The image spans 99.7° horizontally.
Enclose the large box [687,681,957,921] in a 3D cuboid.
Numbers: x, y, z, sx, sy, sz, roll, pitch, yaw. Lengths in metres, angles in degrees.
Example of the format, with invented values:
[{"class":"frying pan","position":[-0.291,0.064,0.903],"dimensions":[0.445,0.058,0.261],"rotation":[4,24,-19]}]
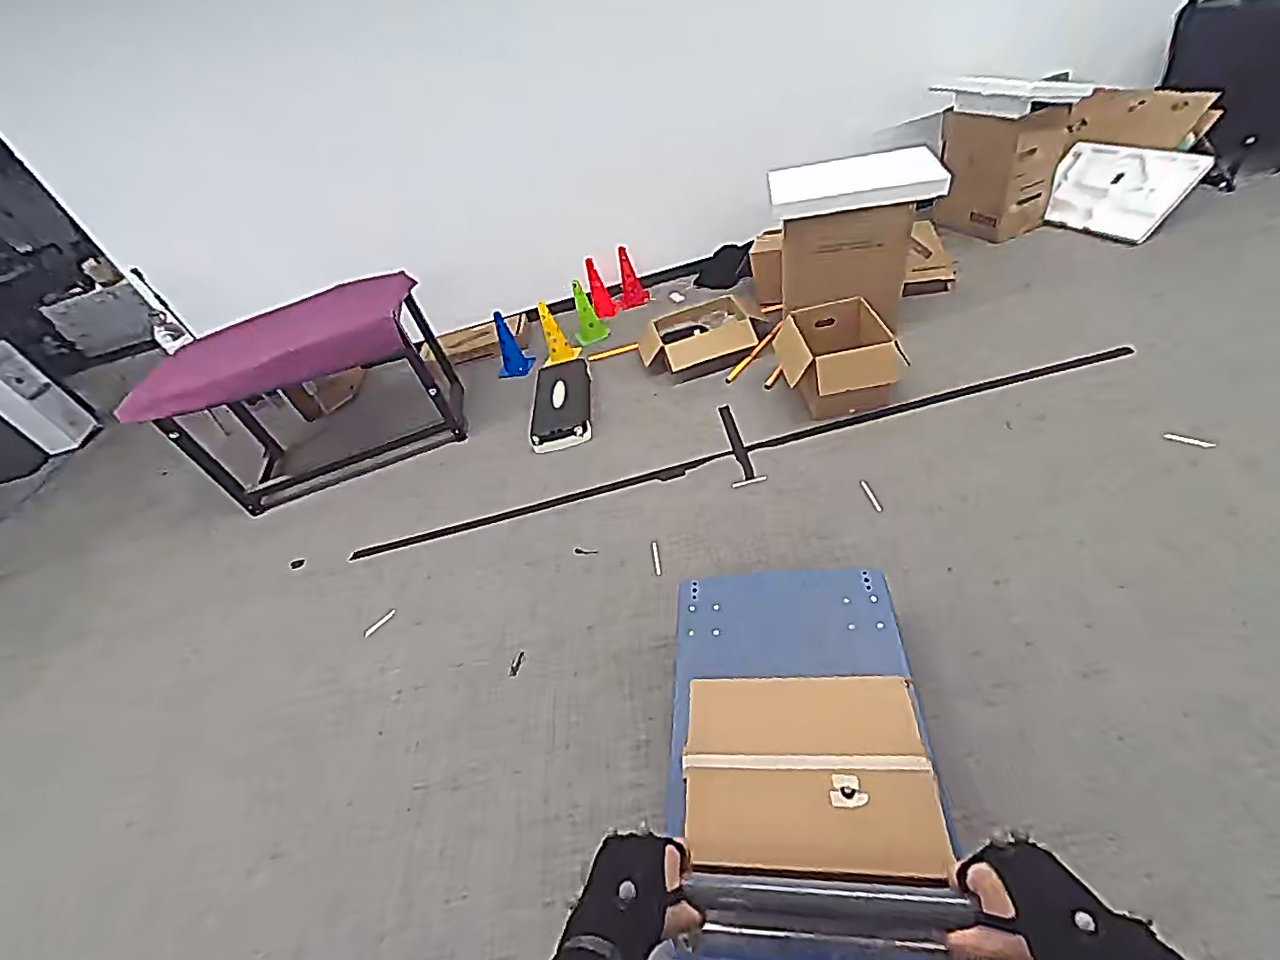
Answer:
[{"class":"large box","position":[0.308,0.603,1.021],"dimensions":[0.408,0.320,0.320],"rotation":[-6,43,12]}]
